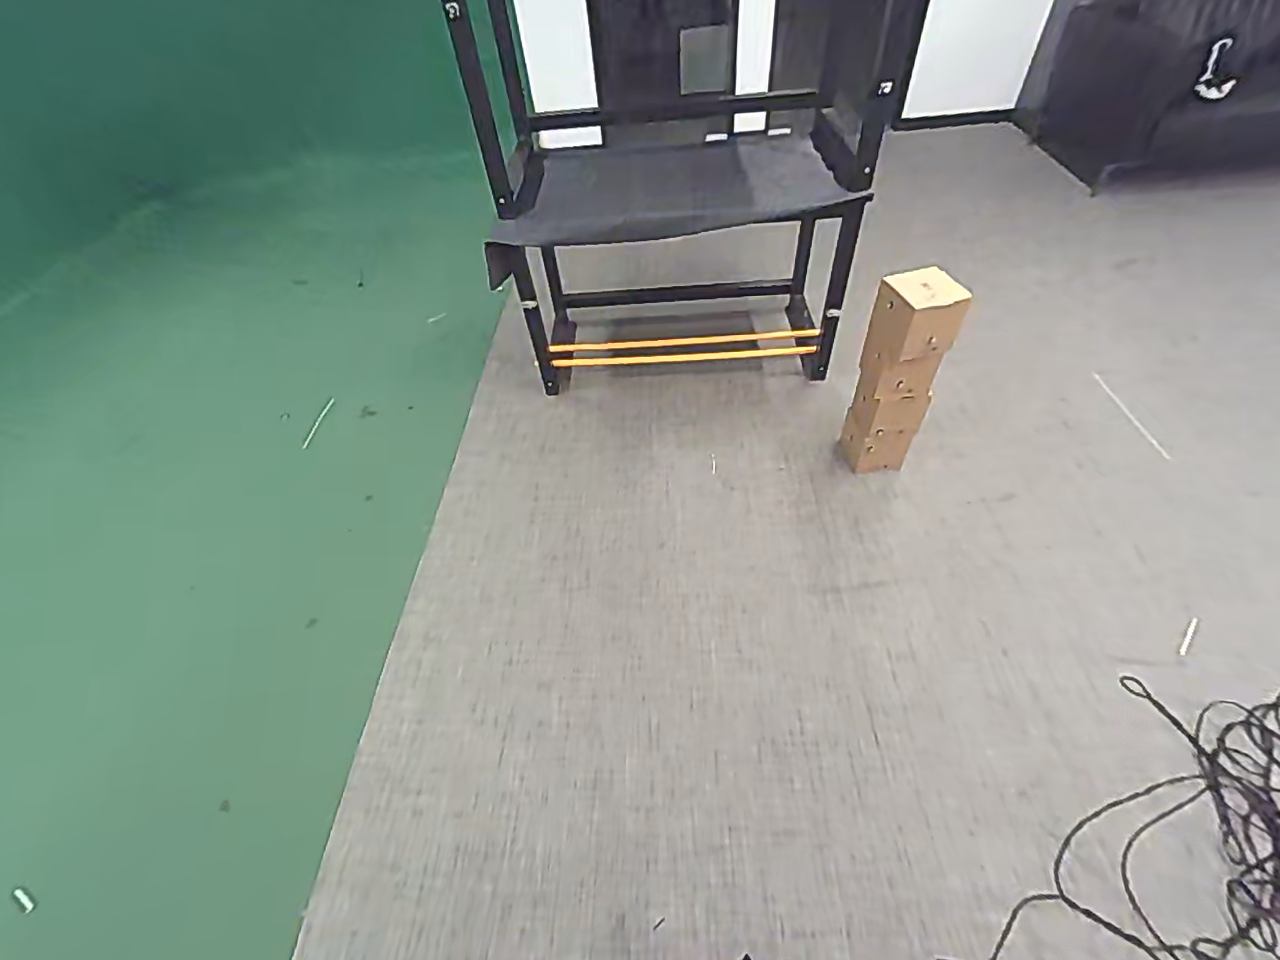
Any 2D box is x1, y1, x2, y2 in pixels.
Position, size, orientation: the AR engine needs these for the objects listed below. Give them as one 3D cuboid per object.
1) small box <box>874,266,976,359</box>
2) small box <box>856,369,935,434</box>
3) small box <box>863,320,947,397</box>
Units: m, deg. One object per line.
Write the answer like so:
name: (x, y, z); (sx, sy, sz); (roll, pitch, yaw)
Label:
small box: (0.781, -0.466, 1.509); (0.168, 0.176, 0.179); (-13, 50, -4)
small box: (0.823, -0.263, 1.761); (0.168, 0.176, 0.179); (-5, 48, 2)
small box: (0.796, -0.373, 1.644); (0.168, 0.176, 0.179); (-3, 49, 4)
